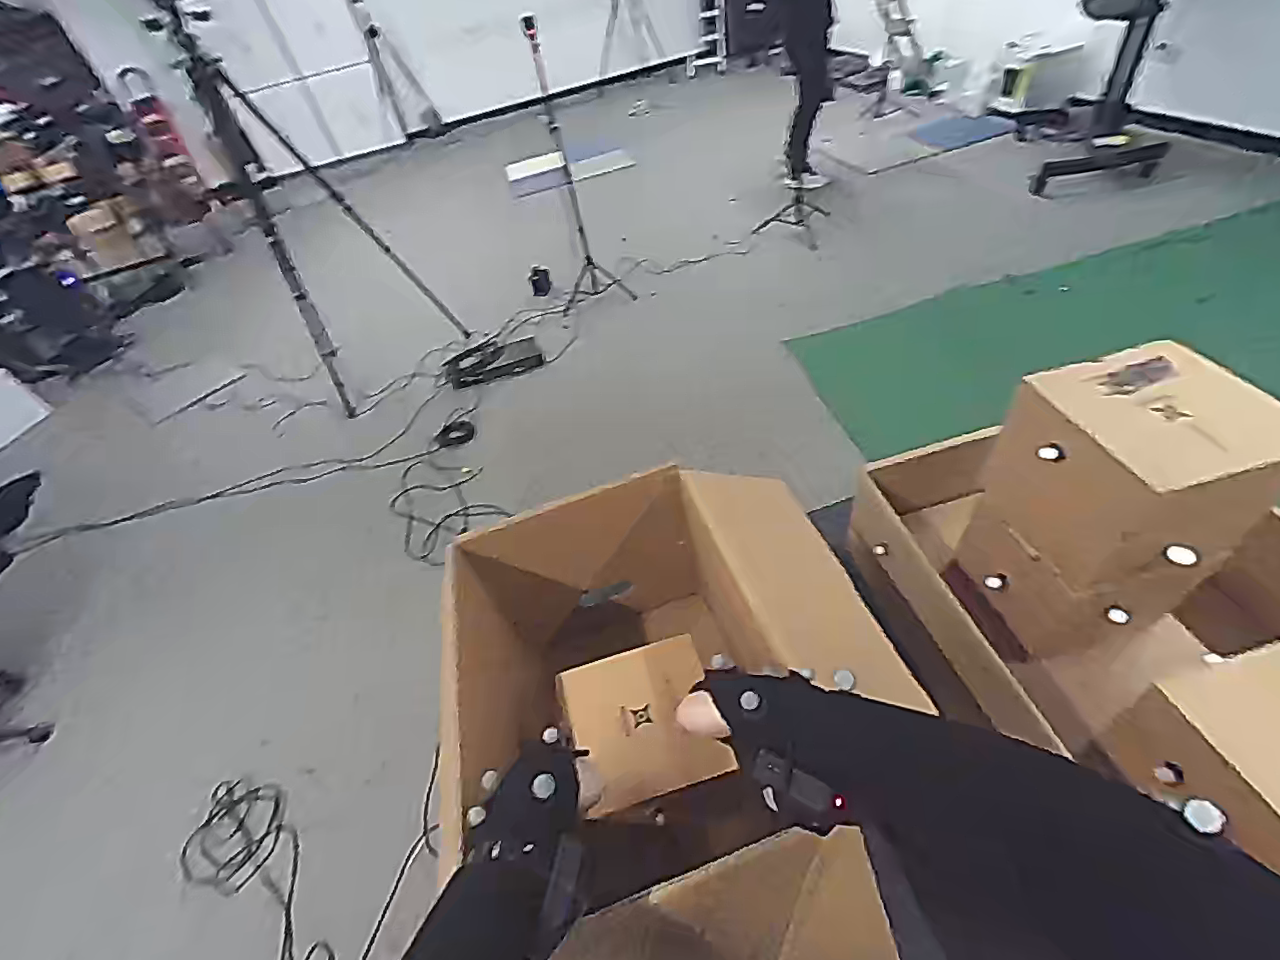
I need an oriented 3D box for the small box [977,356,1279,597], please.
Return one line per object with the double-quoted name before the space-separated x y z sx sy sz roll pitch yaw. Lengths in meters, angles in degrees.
"small box" 0.510 -0.002 0.587 0.168 0.176 0.179 -15 47 -1
